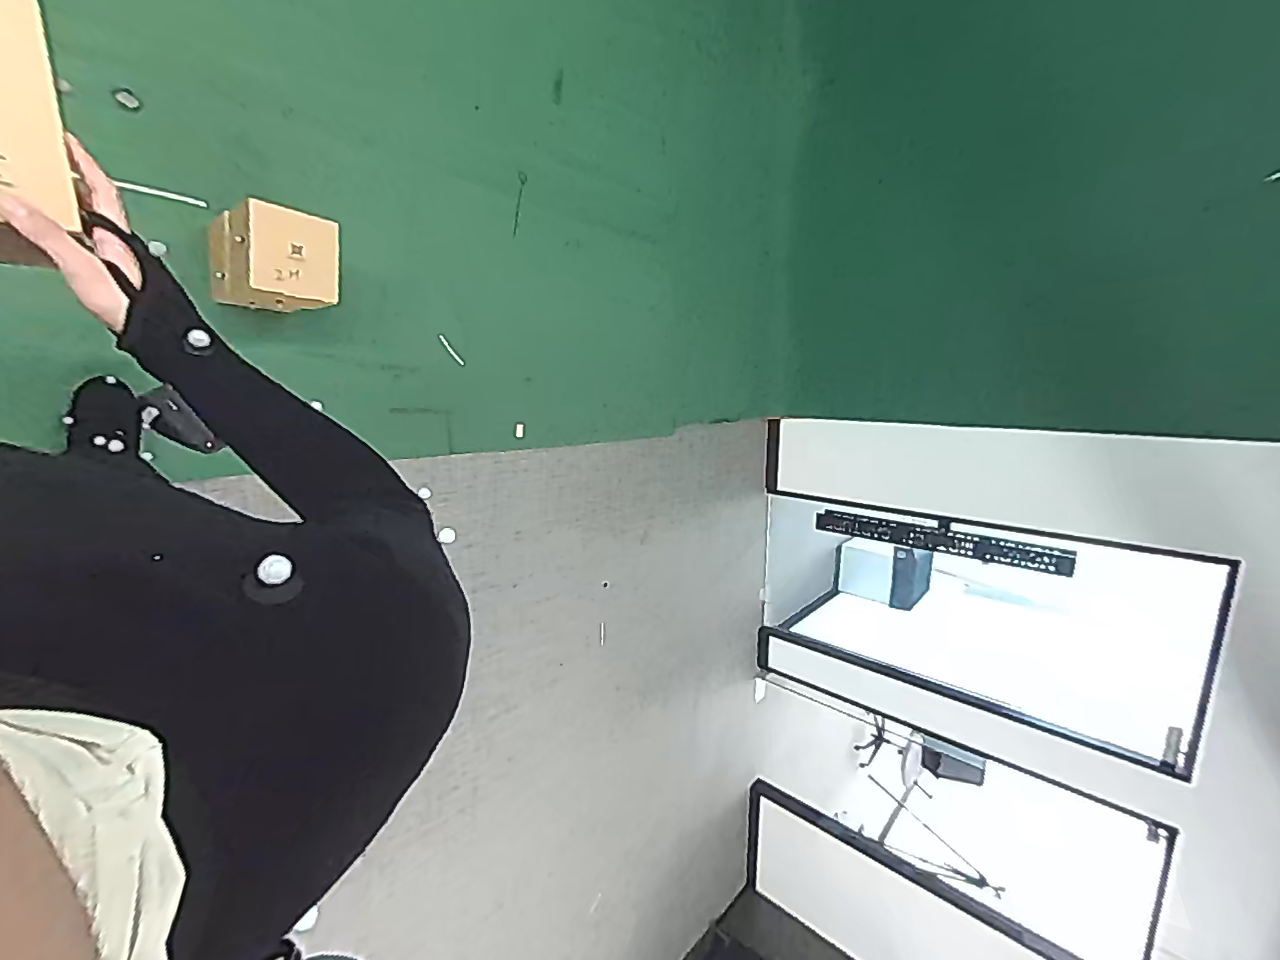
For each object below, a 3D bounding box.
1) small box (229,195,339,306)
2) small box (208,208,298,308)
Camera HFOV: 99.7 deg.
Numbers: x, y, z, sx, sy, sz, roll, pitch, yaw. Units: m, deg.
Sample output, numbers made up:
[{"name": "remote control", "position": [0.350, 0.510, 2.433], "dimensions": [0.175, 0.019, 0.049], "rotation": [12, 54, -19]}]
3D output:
[{"name": "small box", "position": [-0.778, -0.488, 1.178], "dimensions": [0.168, 0.176, 0.179], "rotation": [-3, 101, -49]}, {"name": "small box", "position": [-0.903, -0.516, 1.282], "dimensions": [0.168, 0.176, 0.179], "rotation": [-6, 103, -48]}]
